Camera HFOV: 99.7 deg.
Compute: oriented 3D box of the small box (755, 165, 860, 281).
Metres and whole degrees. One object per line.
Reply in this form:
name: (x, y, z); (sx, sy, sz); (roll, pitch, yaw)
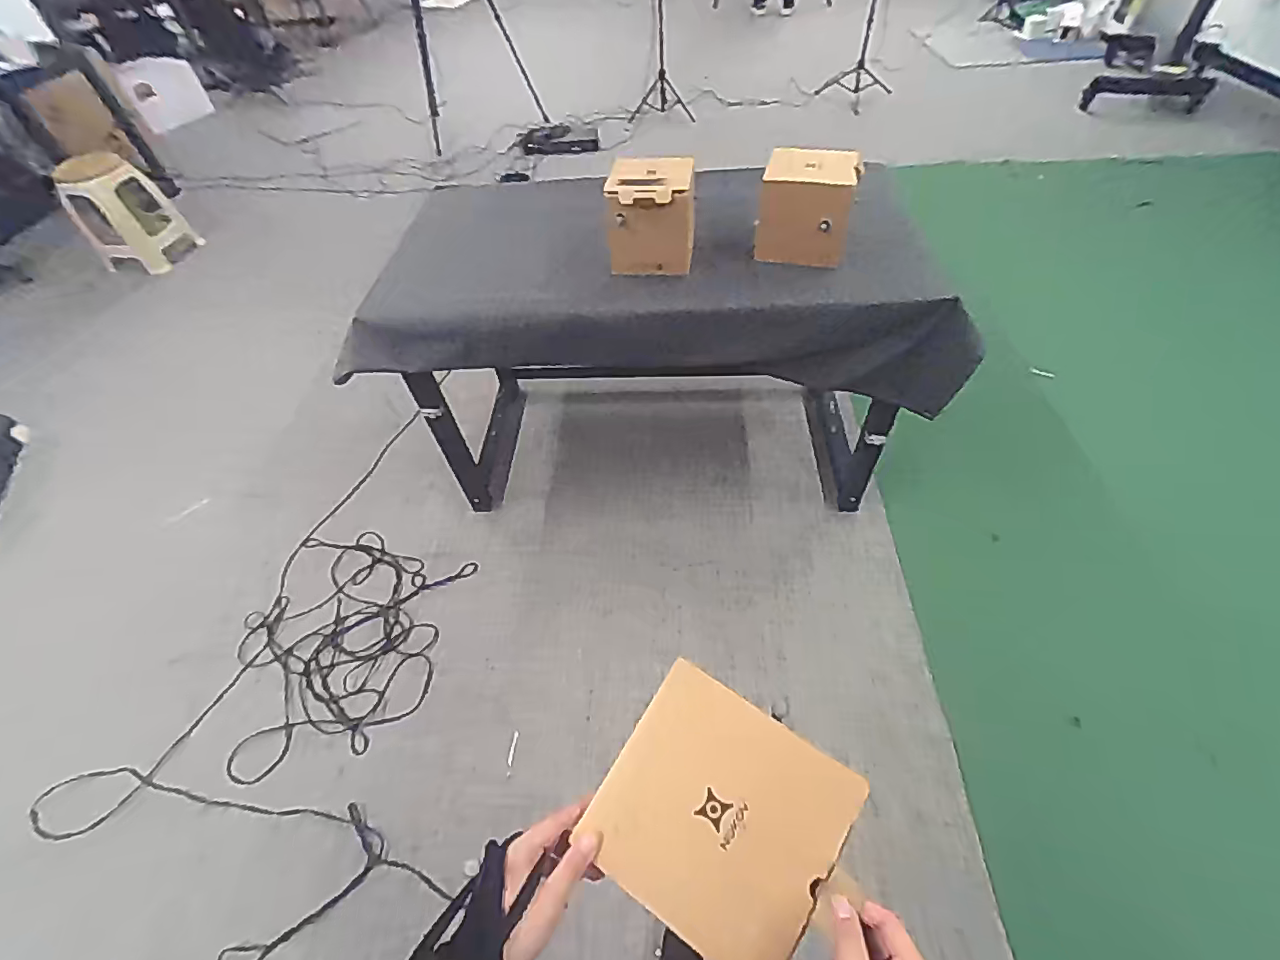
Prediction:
small box: (0.348, -0.537, 1.135); (0.179, 0.176, 0.168); (10, 50, 14)
